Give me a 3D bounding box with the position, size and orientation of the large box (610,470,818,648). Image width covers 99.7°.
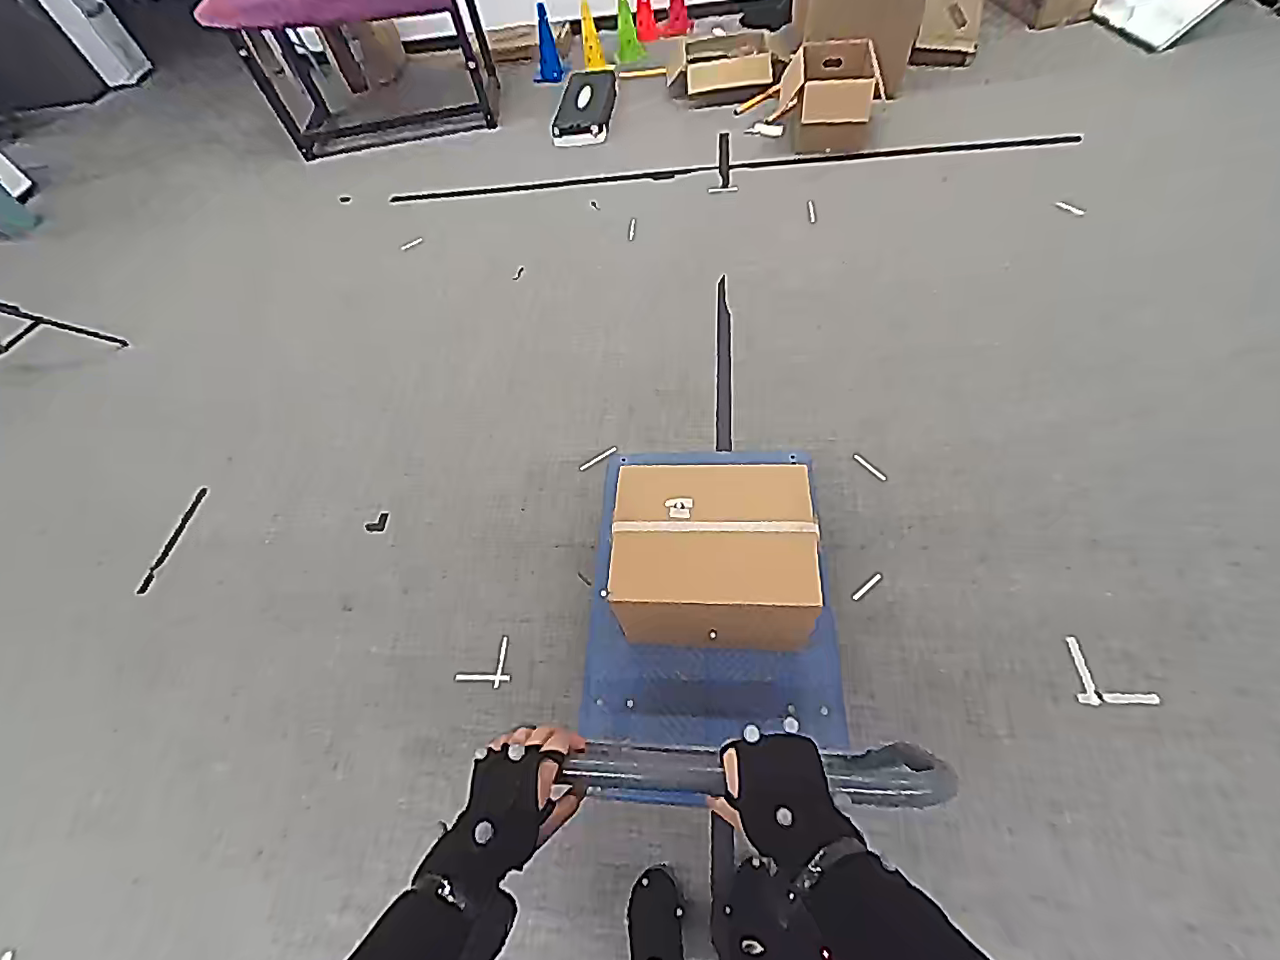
[{"bbox_3d":[0.165,0.193,1.238,0.408,0.320,0.320,-1,57,8],"label":"large box"}]
